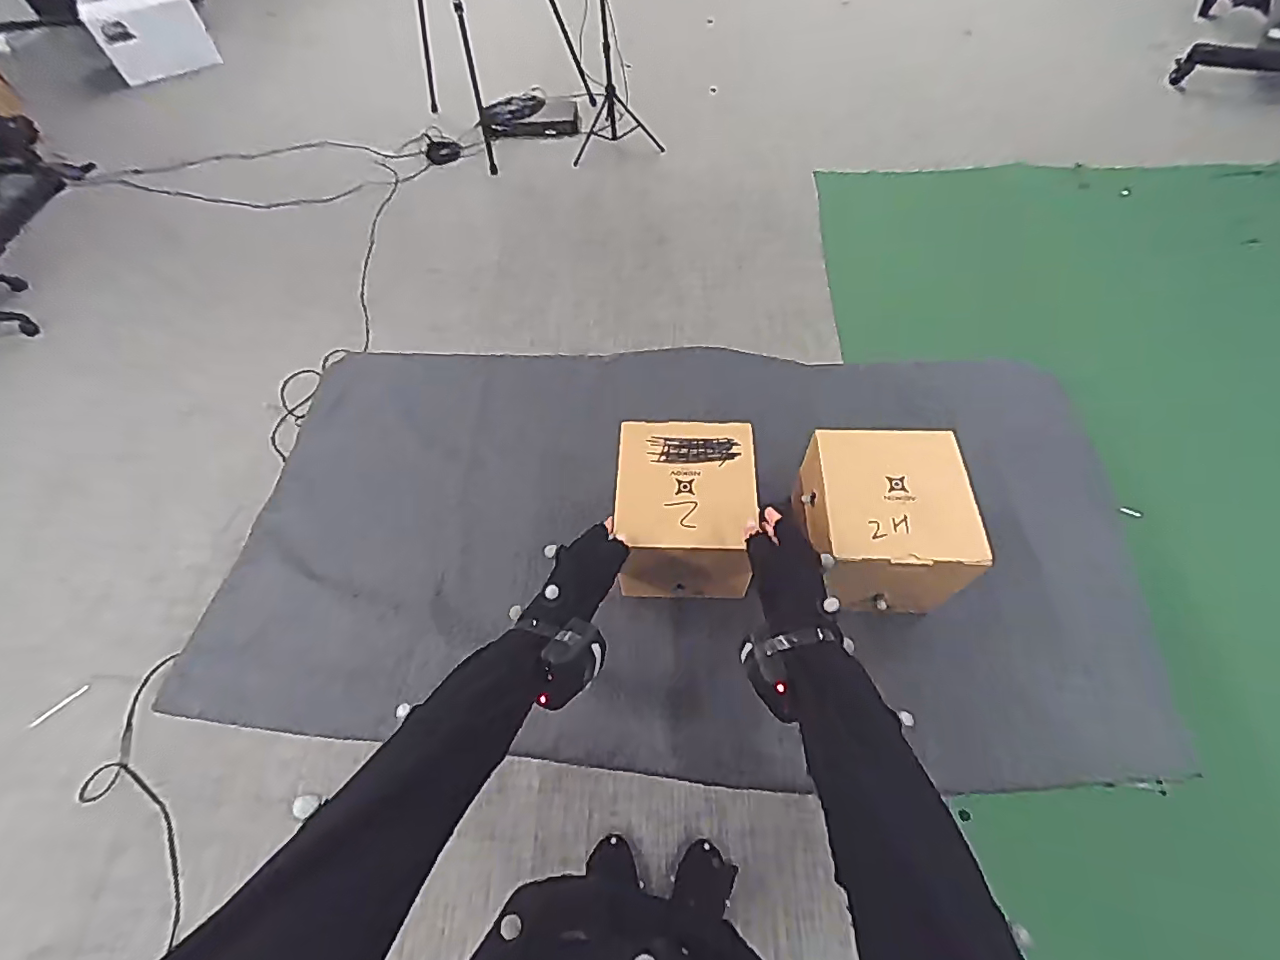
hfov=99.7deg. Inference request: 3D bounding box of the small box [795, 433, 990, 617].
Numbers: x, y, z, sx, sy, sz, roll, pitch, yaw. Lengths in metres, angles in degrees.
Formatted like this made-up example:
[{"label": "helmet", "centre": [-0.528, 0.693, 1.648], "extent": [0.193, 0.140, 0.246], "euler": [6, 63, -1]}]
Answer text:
[{"label": "small box", "centre": [0.298, 0.059, 0.686], "extent": [0.168, 0.176, 0.179], "euler": [1, 58, 5]}]
